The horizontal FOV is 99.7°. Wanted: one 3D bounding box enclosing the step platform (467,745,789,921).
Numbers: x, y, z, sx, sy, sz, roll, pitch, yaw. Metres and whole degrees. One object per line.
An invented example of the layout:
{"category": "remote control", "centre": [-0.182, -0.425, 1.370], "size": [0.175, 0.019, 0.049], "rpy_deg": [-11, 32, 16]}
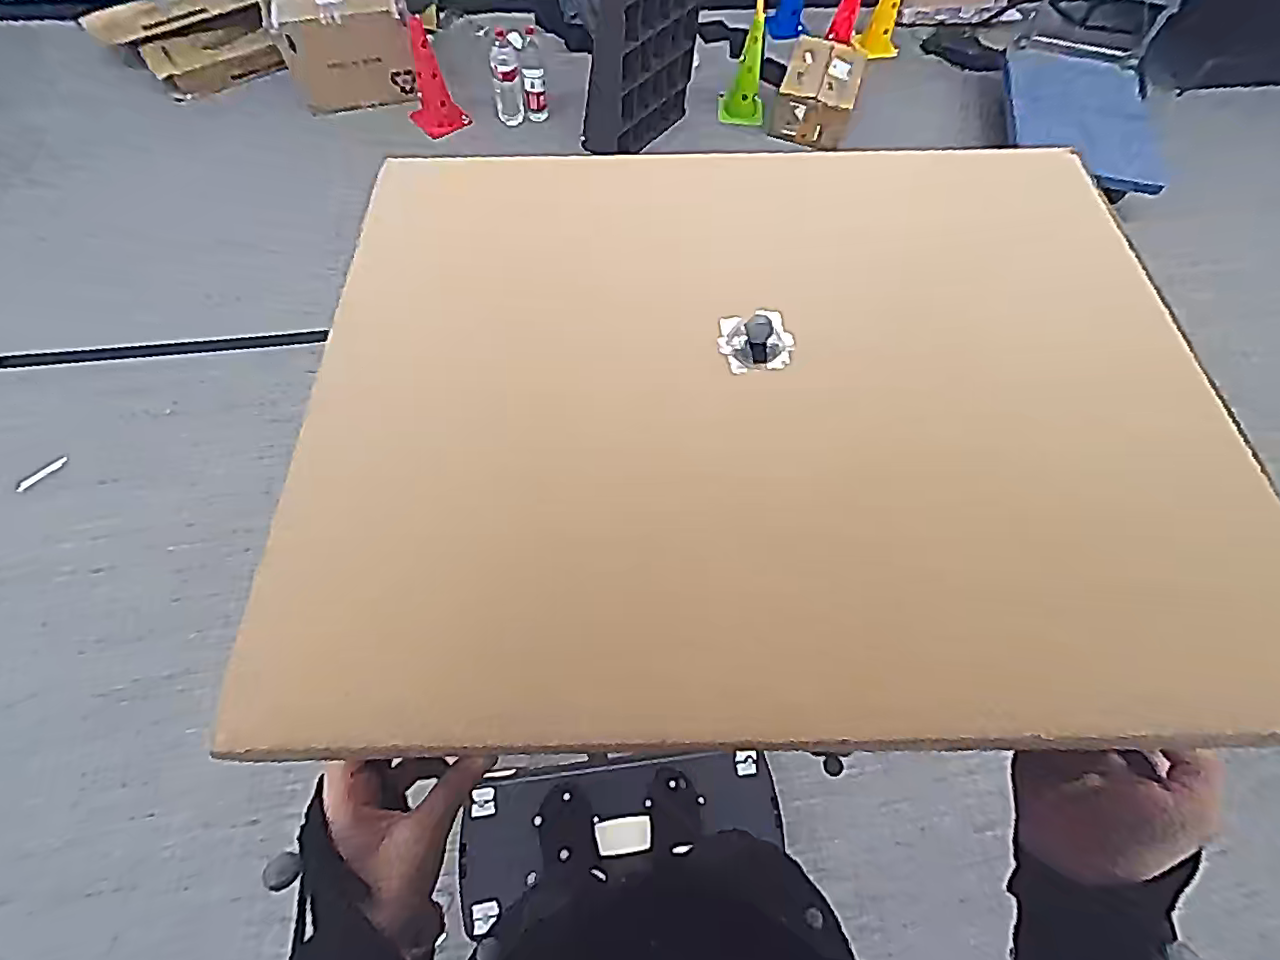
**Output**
{"category": "step platform", "centre": [-0.025, 0.757, 1.194], "size": [0.684, 0.204, 0.286], "rpy_deg": [-1, 66, -5]}

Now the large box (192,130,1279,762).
{"category": "large box", "centre": [0.038, 0.010, 0.379], "size": [0.408, 0.320, 0.320], "rpy_deg": [-3, 66, 1]}
